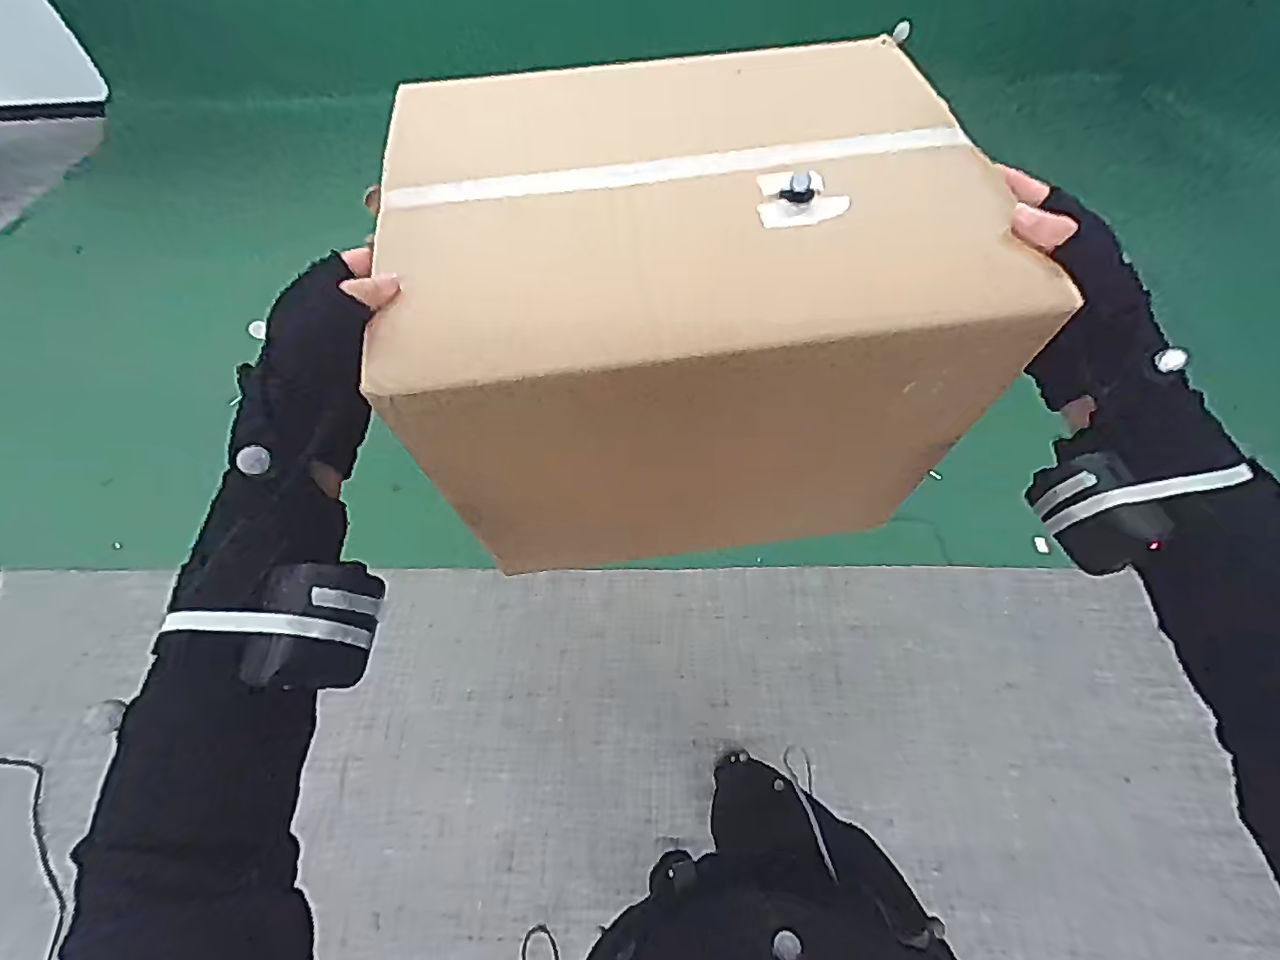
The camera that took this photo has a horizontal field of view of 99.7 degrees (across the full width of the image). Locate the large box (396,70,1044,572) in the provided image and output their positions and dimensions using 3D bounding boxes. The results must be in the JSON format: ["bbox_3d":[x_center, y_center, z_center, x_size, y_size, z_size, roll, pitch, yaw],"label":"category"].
[{"bbox_3d":[0.034,-0.130,0.520,0.408,0.320,0.320,-7,62,-3],"label":"large box"}]
